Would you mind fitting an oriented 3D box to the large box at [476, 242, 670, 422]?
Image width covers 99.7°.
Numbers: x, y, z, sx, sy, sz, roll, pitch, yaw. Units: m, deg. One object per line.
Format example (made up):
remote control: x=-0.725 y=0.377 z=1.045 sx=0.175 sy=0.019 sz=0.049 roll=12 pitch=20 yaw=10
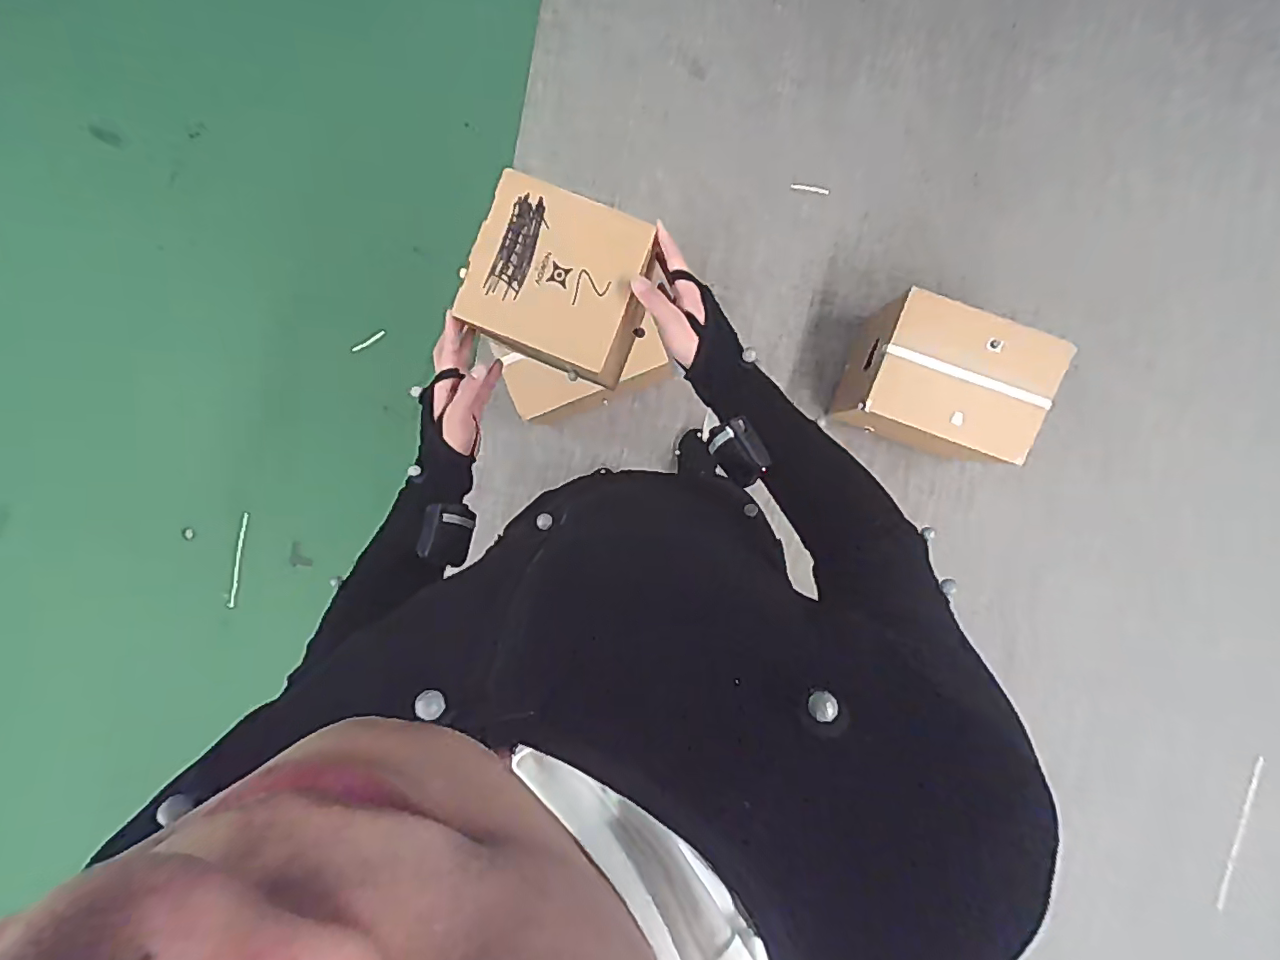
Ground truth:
large box: x=-0.160 y=-0.376 z=1.480 sx=0.408 sy=0.320 sz=0.320 roll=-22 pitch=92 yaw=6
